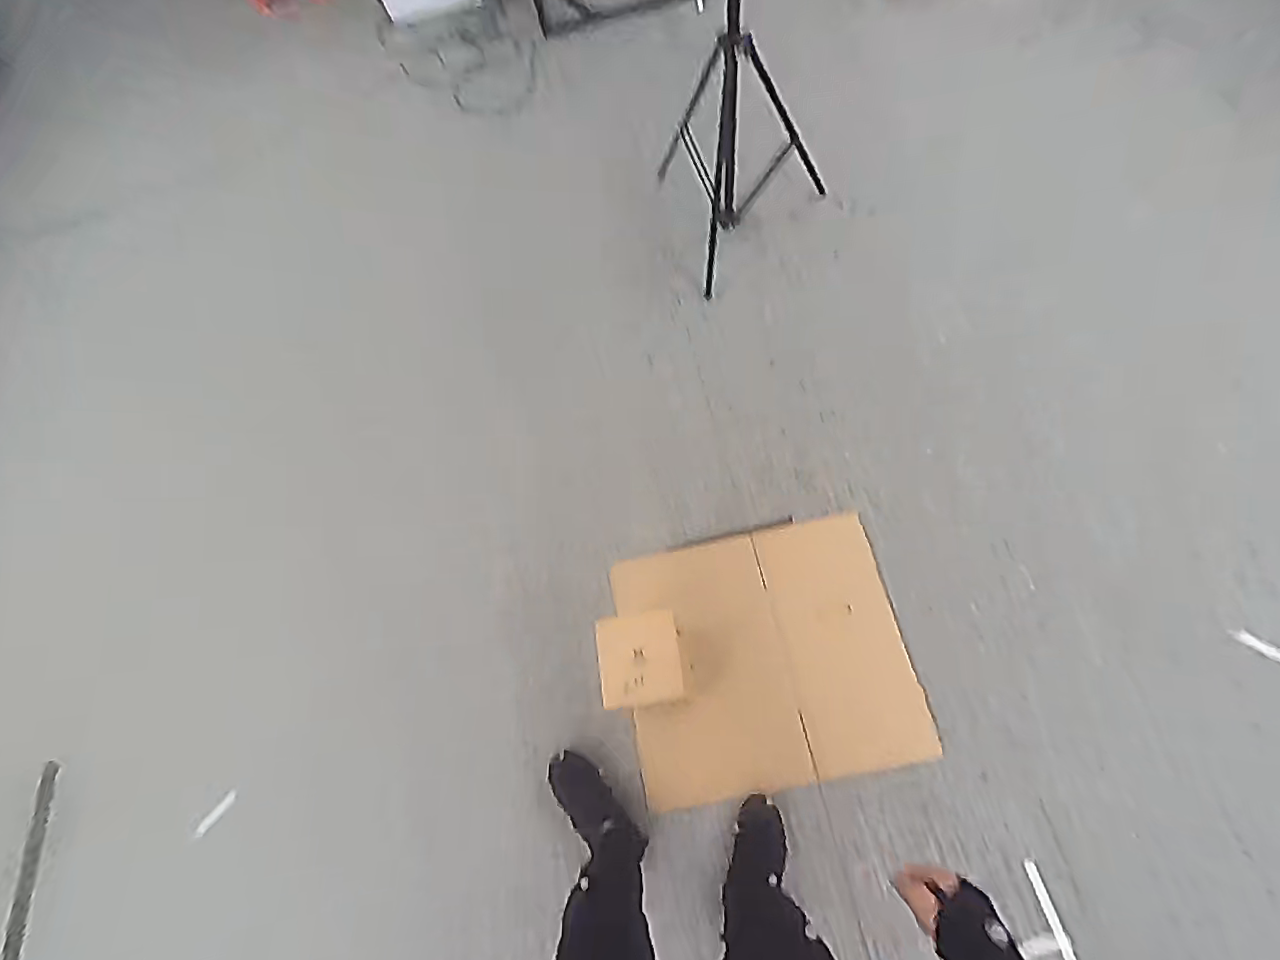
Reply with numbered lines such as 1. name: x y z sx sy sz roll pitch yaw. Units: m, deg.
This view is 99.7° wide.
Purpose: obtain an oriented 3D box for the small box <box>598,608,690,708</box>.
1. small box: 0.011 0.384 1.154 0.168 0.176 0.179 -10 68 6
